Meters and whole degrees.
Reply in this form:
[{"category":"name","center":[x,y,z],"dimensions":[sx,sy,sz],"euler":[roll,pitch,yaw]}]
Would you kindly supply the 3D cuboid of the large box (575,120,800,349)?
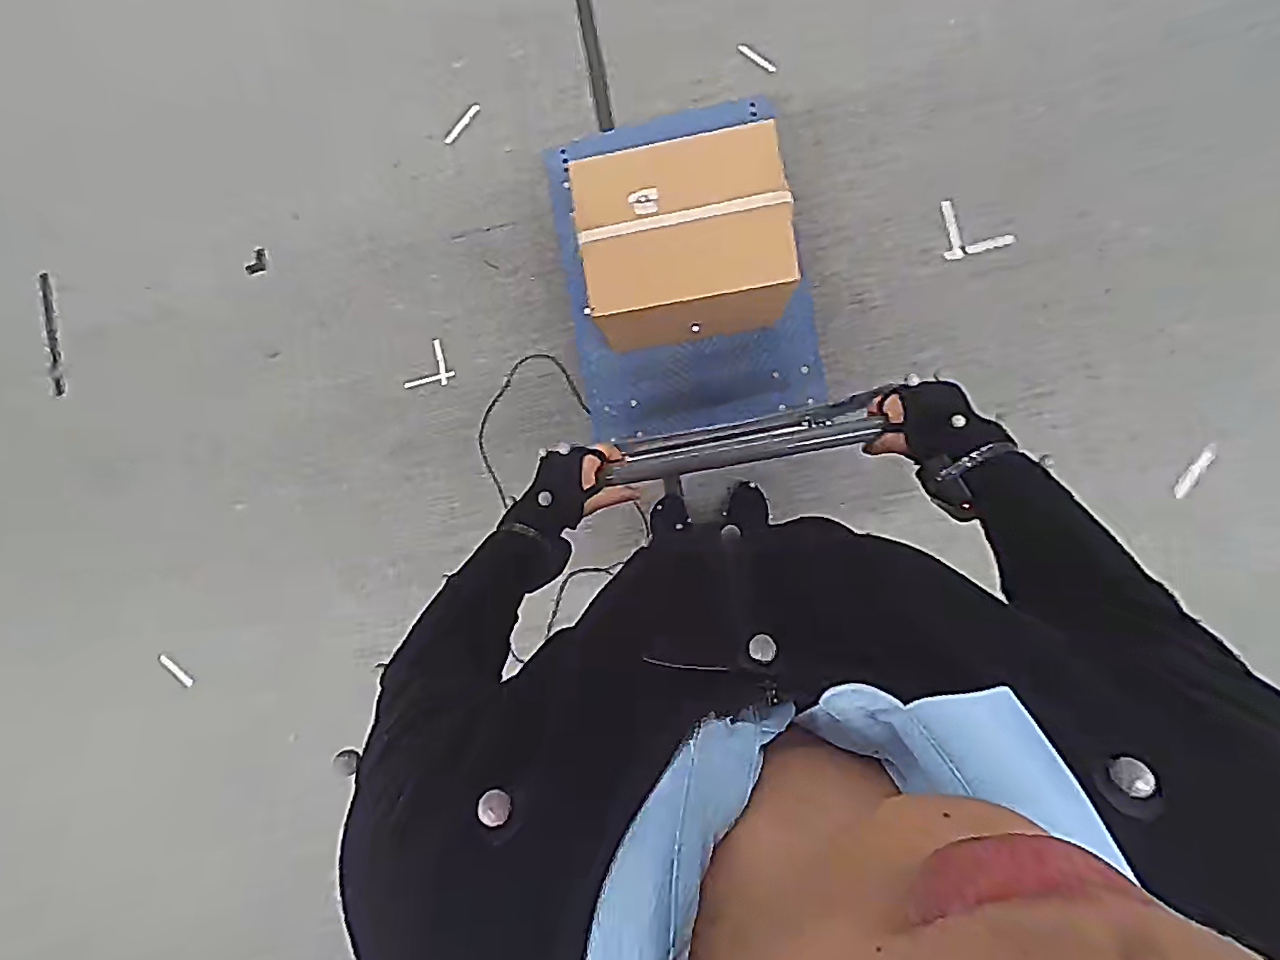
[{"category":"large box","center":[0.106,-0.508,1.198],"dimensions":[0.408,0.320,0.320],"euler":[-9,88,7]}]
